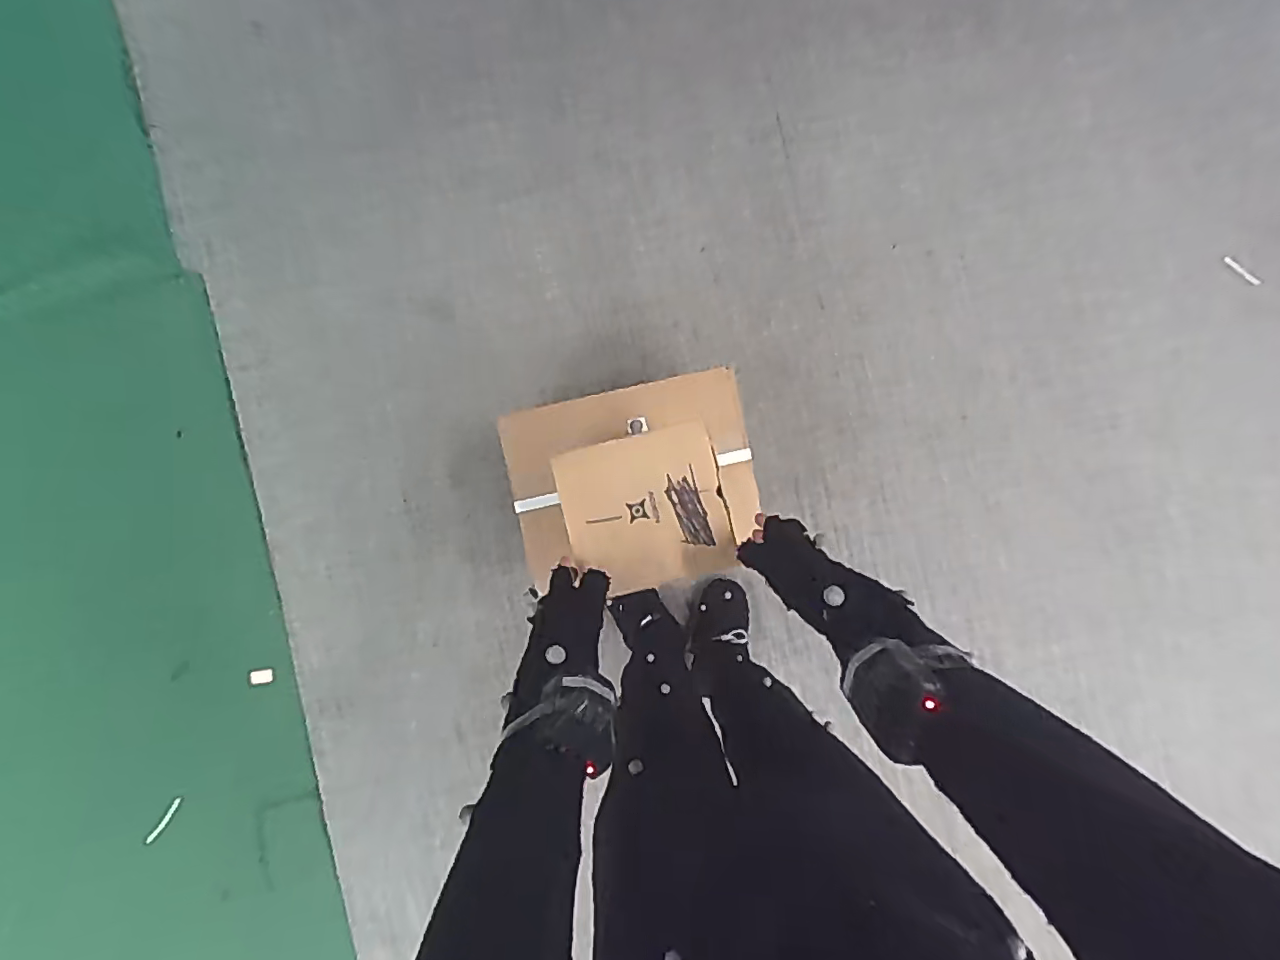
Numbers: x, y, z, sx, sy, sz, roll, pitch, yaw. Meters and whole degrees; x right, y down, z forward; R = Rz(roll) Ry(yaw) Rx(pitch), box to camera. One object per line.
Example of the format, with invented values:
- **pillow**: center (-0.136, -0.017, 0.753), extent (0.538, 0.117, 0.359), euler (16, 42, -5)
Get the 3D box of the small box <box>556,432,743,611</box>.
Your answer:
- **small box**: center (0.009, 0.043, 0.660), extent (0.179, 0.176, 0.168), euler (-14, 90, 0)
